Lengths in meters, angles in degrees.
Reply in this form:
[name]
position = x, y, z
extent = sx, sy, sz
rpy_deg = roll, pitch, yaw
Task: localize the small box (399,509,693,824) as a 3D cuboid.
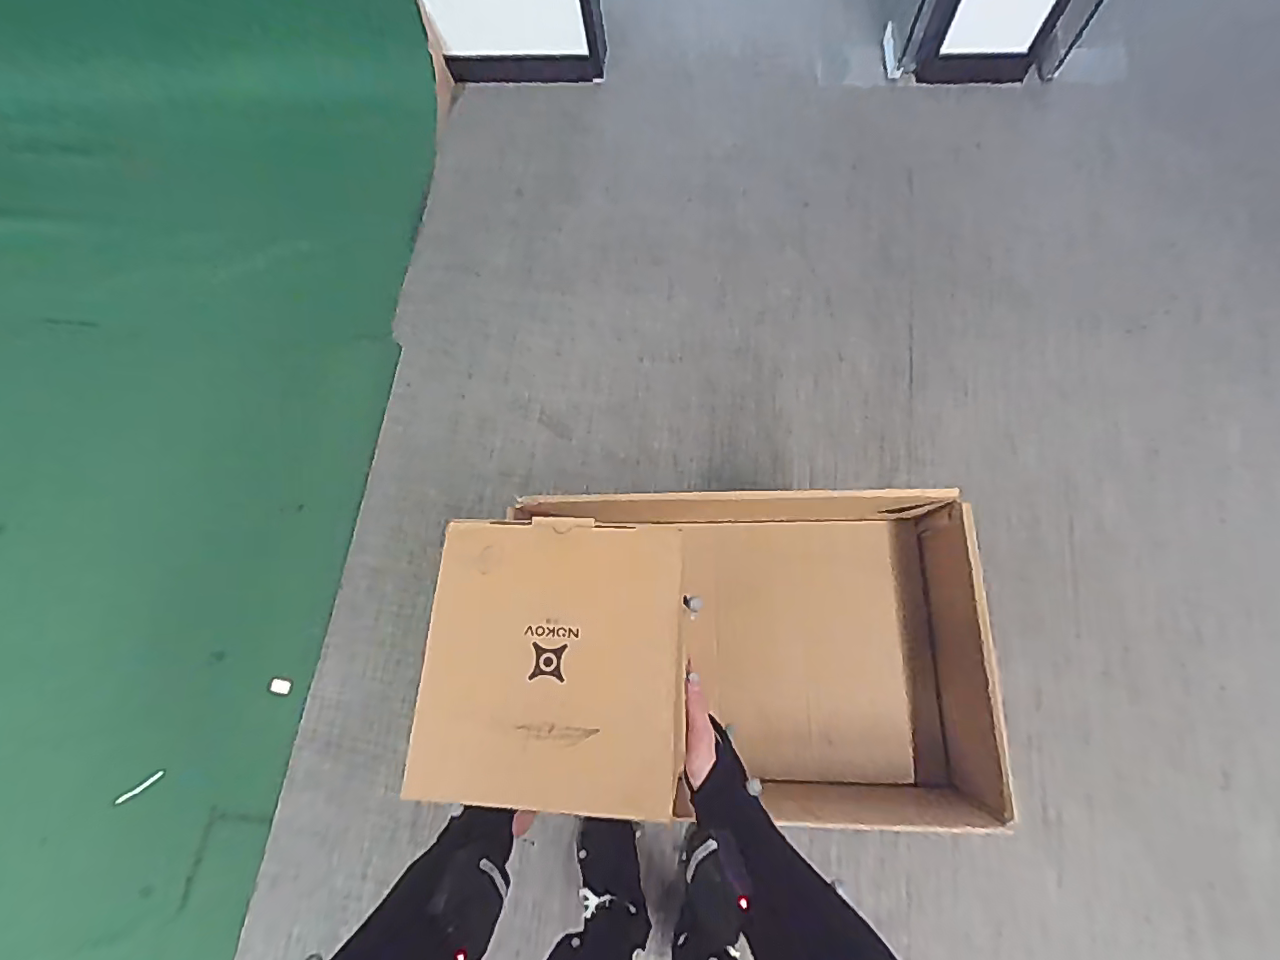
[small box]
position = -0.048, 0.131, 0.408
extent = 0.168, 0.176, 0.179
rpy_deg = 2, 72, 6
